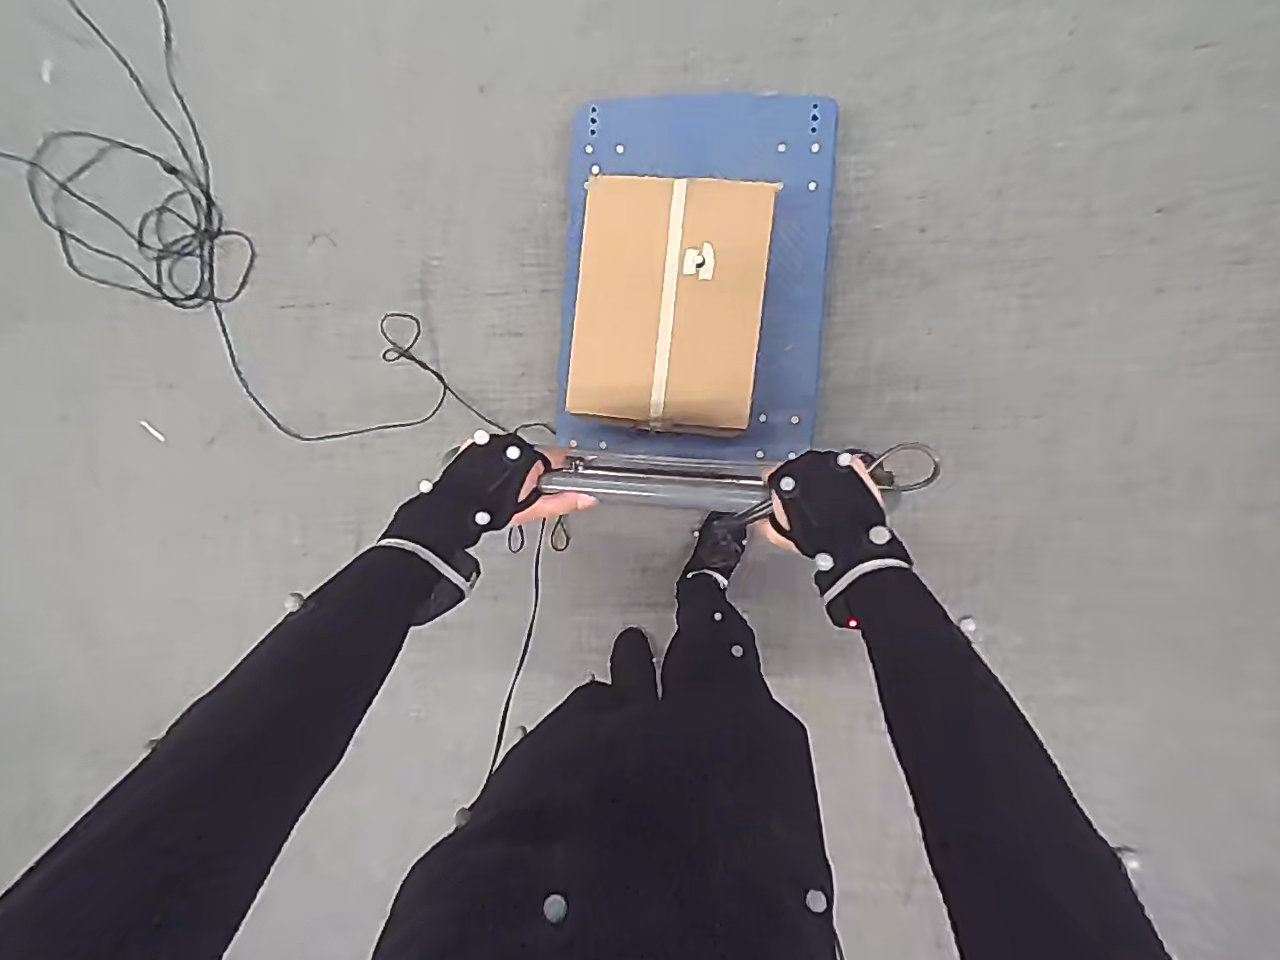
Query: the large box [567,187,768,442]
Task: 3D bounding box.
[{"bbox_3d":[0.060,-0.291,1.060,0.320,0.320,0.408,6,92,6],"label":"large box"}]
